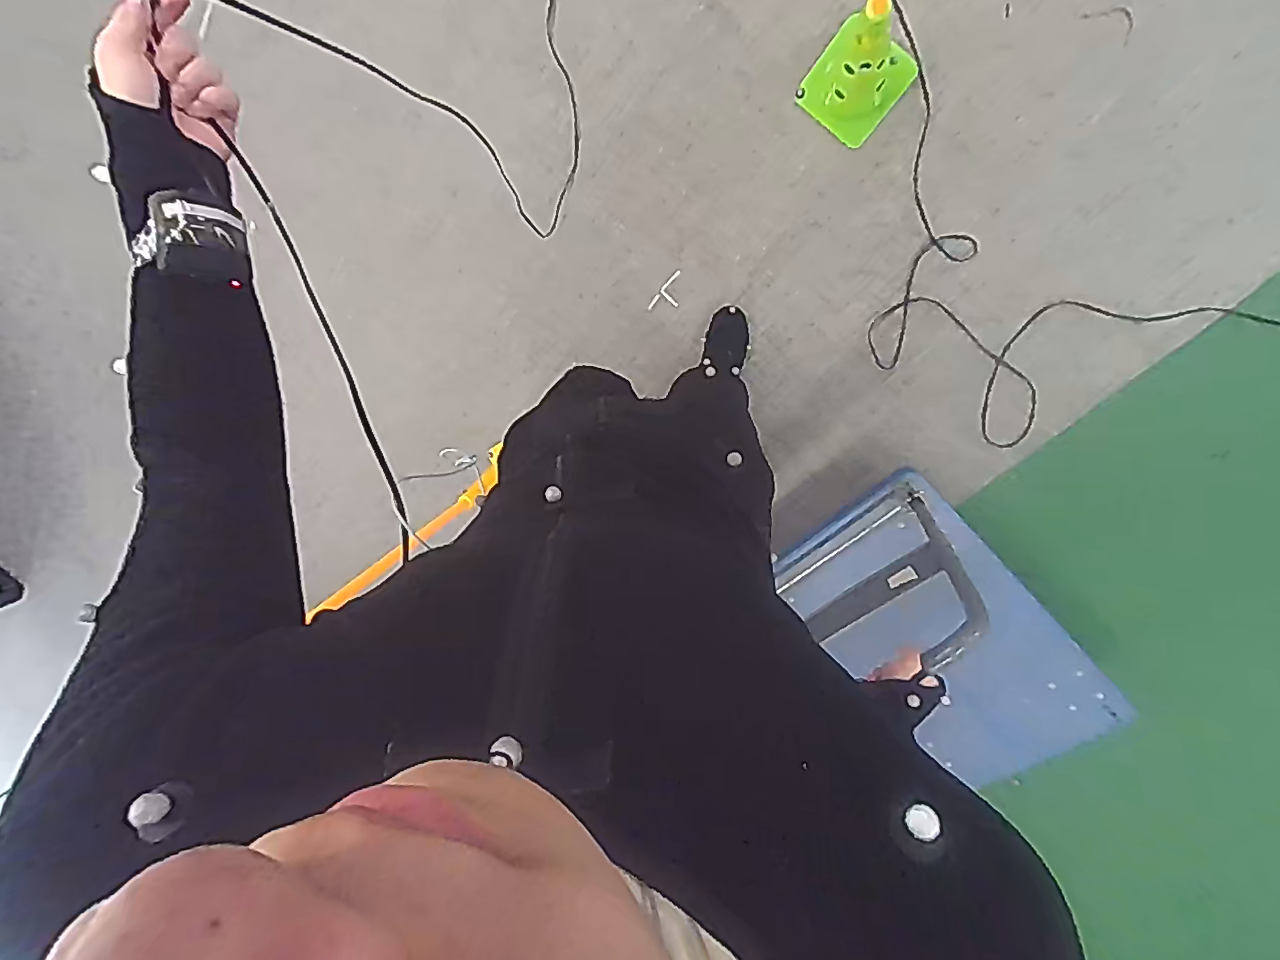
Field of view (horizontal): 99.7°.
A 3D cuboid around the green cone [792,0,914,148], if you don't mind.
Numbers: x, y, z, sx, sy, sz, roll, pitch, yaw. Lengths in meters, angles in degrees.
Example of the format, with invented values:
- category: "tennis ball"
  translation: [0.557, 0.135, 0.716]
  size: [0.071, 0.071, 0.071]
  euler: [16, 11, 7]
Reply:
- category: "green cone"
  translation: [0.437, -0.846, 1.065]
  size: [0.200, 0.368, 0.202]
  euler: [39, 112, 0]
